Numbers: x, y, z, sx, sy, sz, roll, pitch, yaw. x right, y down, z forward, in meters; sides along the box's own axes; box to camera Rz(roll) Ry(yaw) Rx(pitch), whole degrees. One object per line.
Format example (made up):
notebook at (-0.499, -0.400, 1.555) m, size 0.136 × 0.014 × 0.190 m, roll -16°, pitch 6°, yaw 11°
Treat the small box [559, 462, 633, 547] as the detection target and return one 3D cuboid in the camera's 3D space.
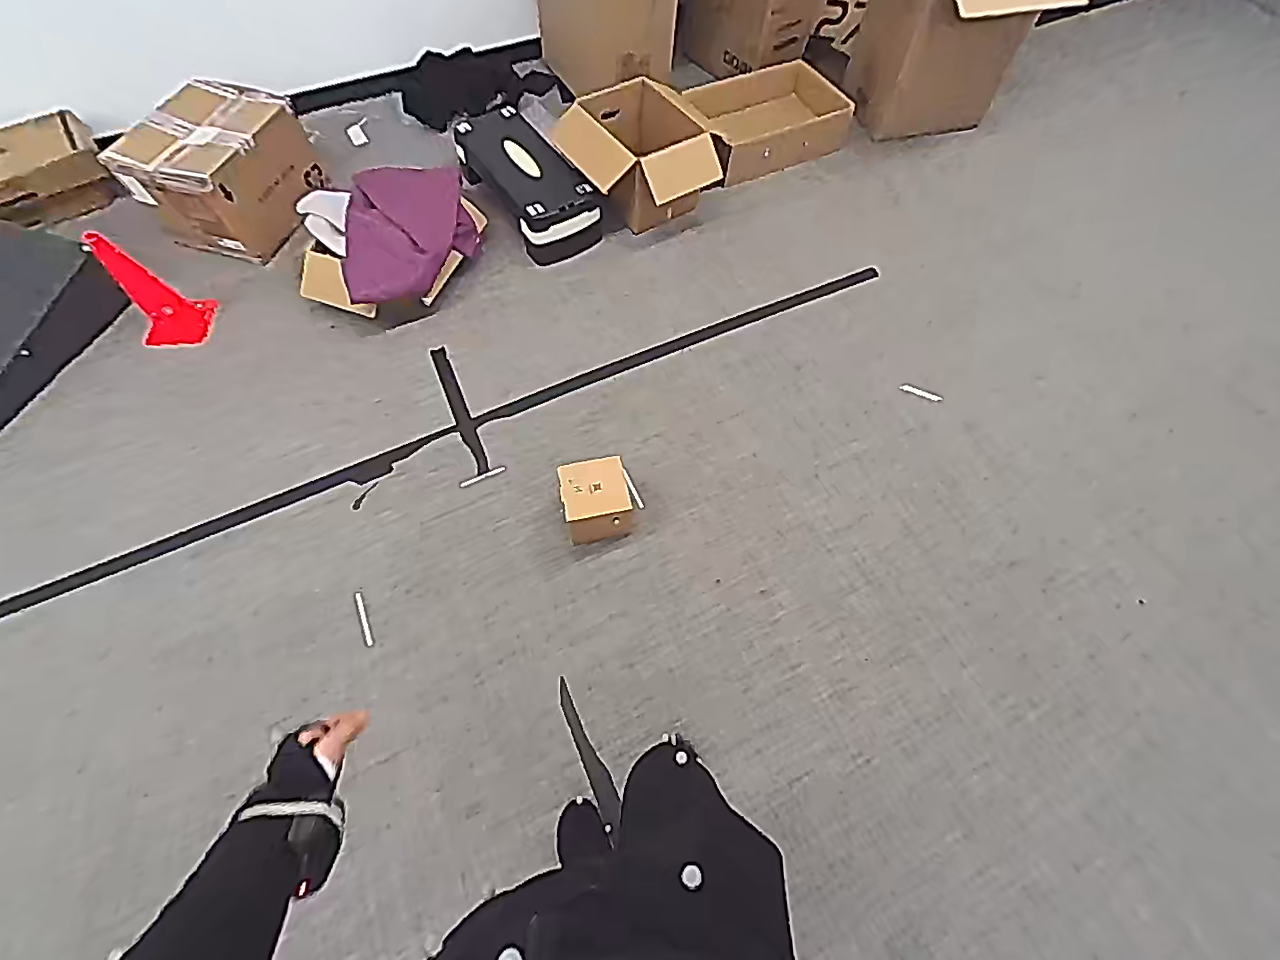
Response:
small box at (-0.122, 0.071, 1.502) m, size 0.179 × 0.176 × 0.168 m, roll -11°, pitch 63°, yaw -7°
